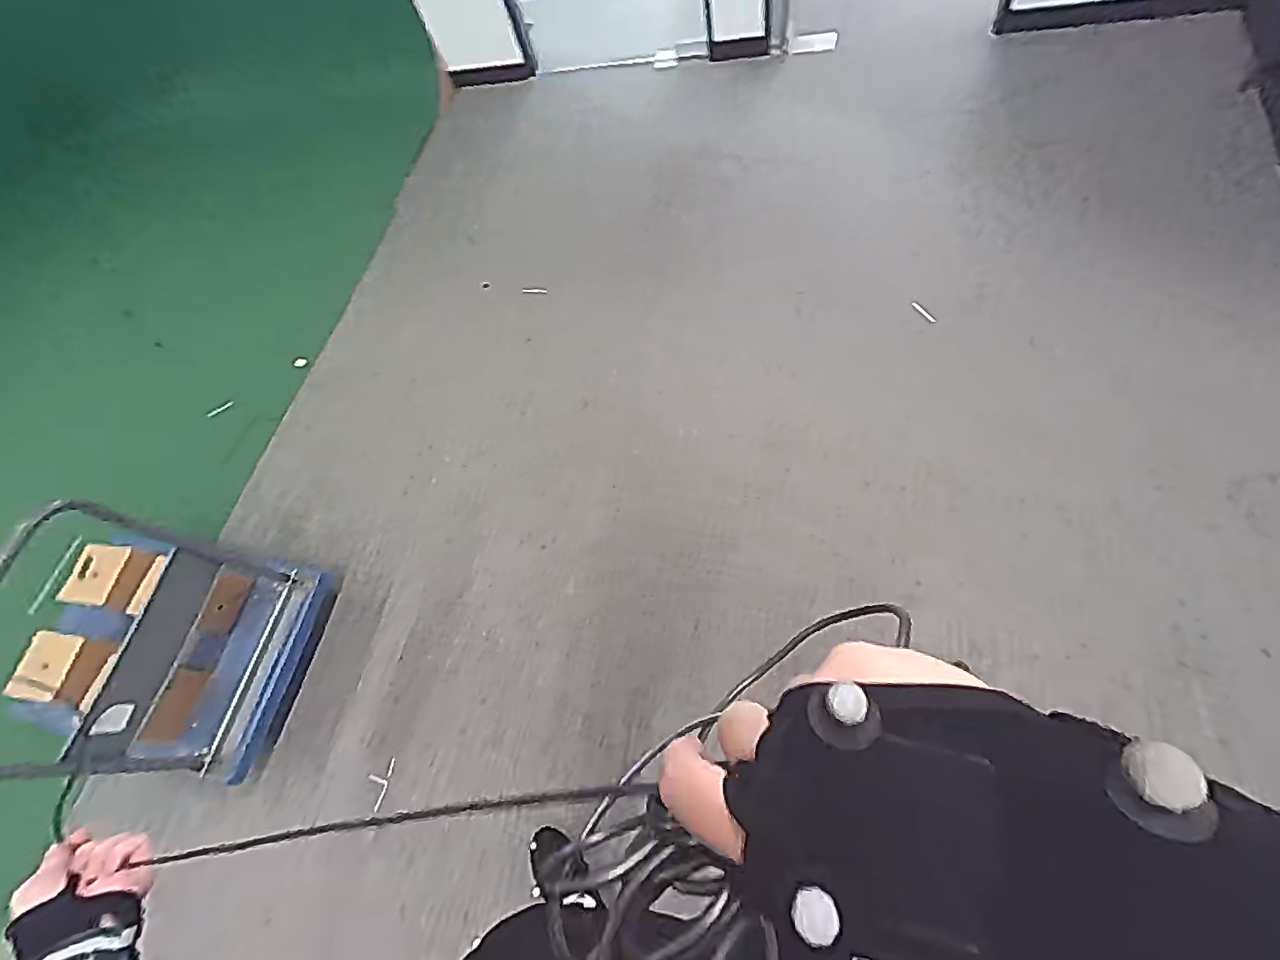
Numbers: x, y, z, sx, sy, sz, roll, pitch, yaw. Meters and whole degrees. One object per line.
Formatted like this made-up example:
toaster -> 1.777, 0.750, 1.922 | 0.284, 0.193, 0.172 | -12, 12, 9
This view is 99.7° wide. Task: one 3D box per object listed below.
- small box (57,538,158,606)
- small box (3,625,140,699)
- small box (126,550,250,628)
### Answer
small box -> -1.538, 0.283, 1.610 | 0.179, 0.176, 0.168 | 4, 67, 13
small box -> -1.574, 0.511, 1.511 | 0.179, 0.176, 0.168 | 4, 65, 14
small box -> -1.279, 0.316, 1.541 | 0.179, 0.176, 0.168 | 8, 67, 15
